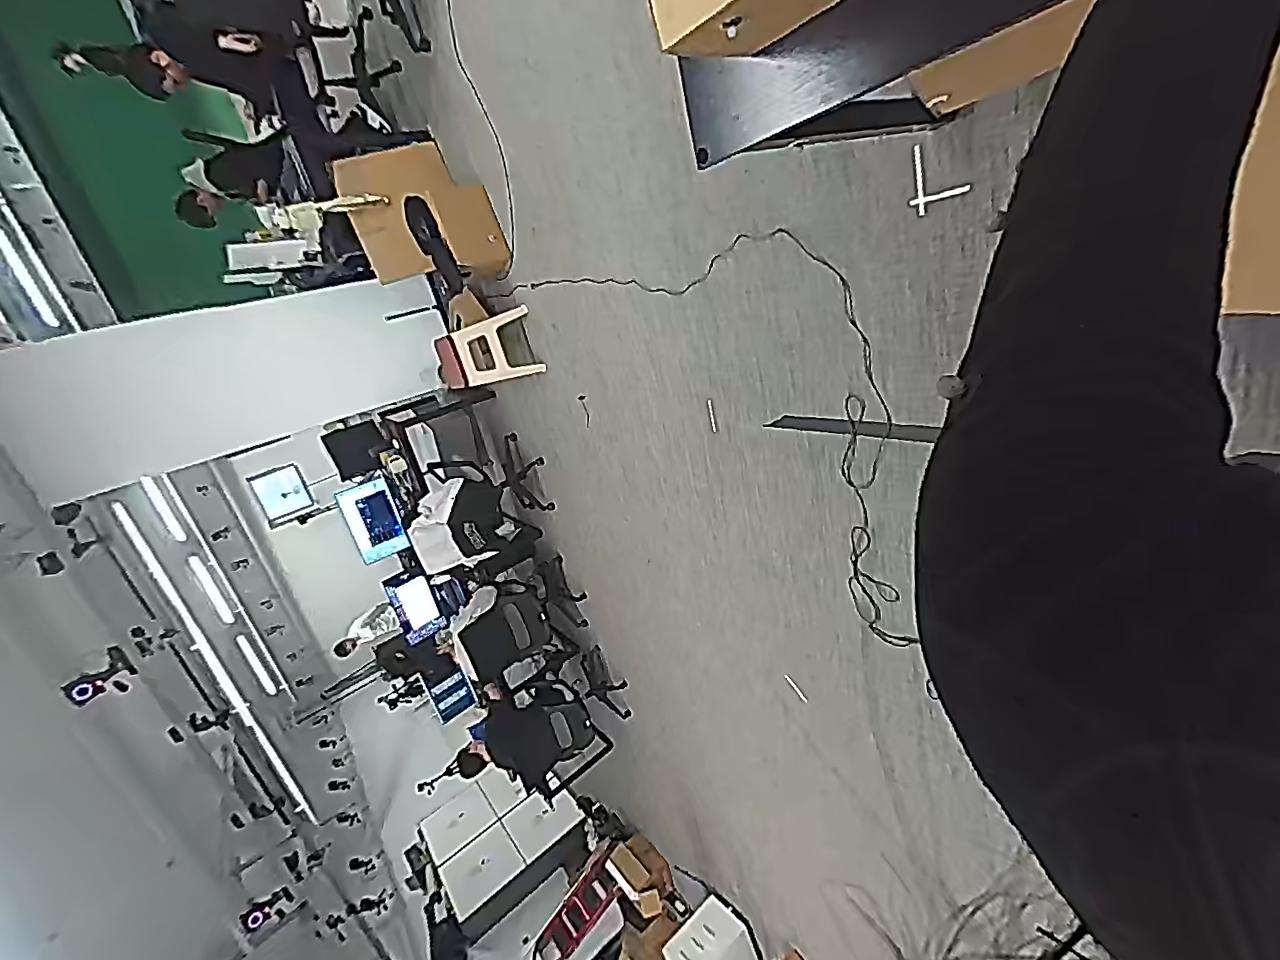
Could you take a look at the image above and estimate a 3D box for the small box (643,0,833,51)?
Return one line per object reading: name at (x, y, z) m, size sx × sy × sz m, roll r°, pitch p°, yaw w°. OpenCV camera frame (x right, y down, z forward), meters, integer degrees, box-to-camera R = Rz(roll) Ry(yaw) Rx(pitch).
small box at (0.111, -0.598, 0.588) m, size 0.179 × 0.176 × 0.168 m, roll 14°, pitch 125°, yaw 51°
